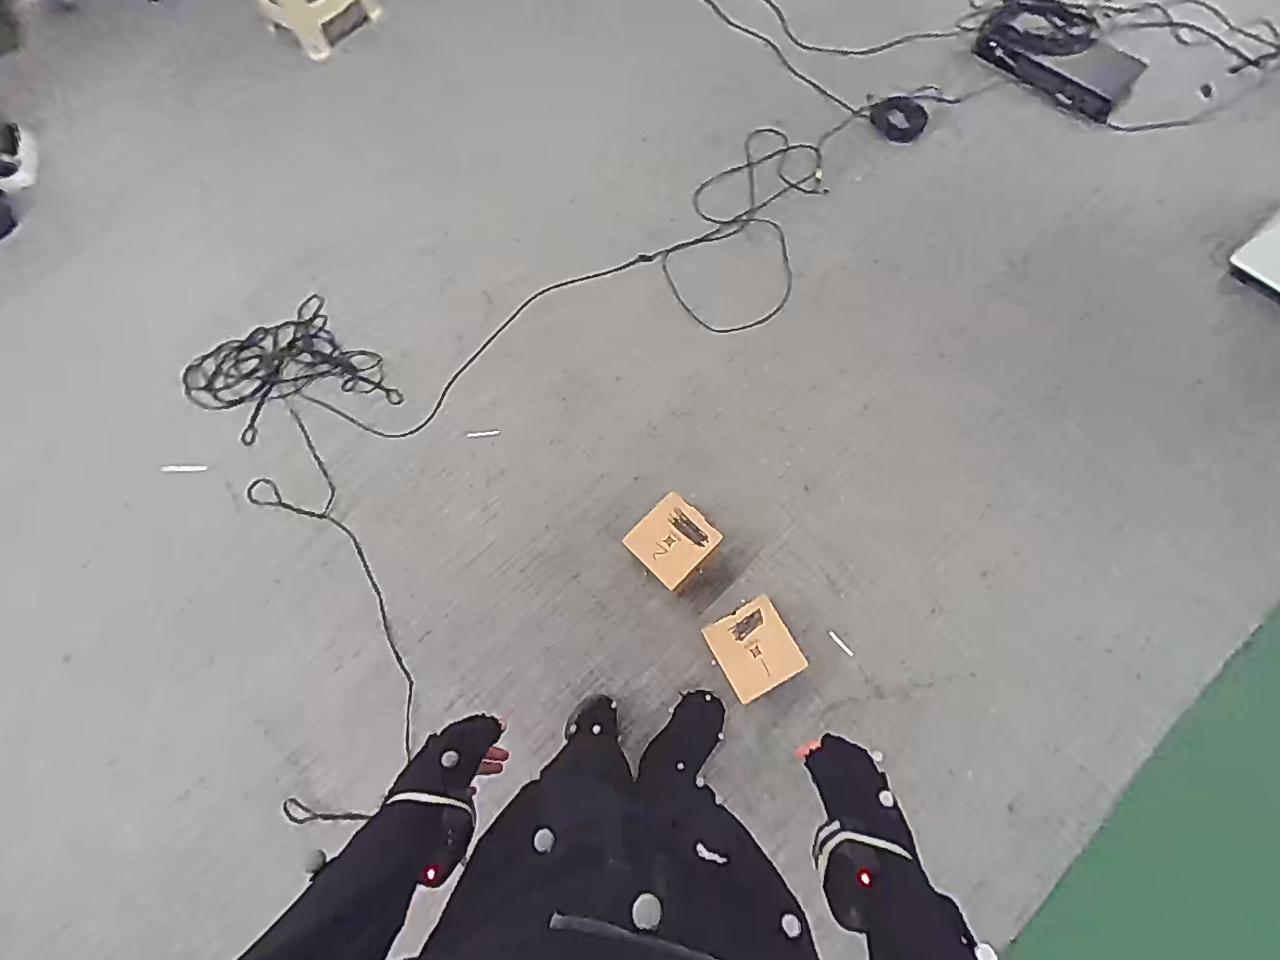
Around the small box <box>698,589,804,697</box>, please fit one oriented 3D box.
[{"bbox_3d":[0.242,0.371,1.237,0.168,0.176,0.179,-29,74,-5],"label":"small box"}]
